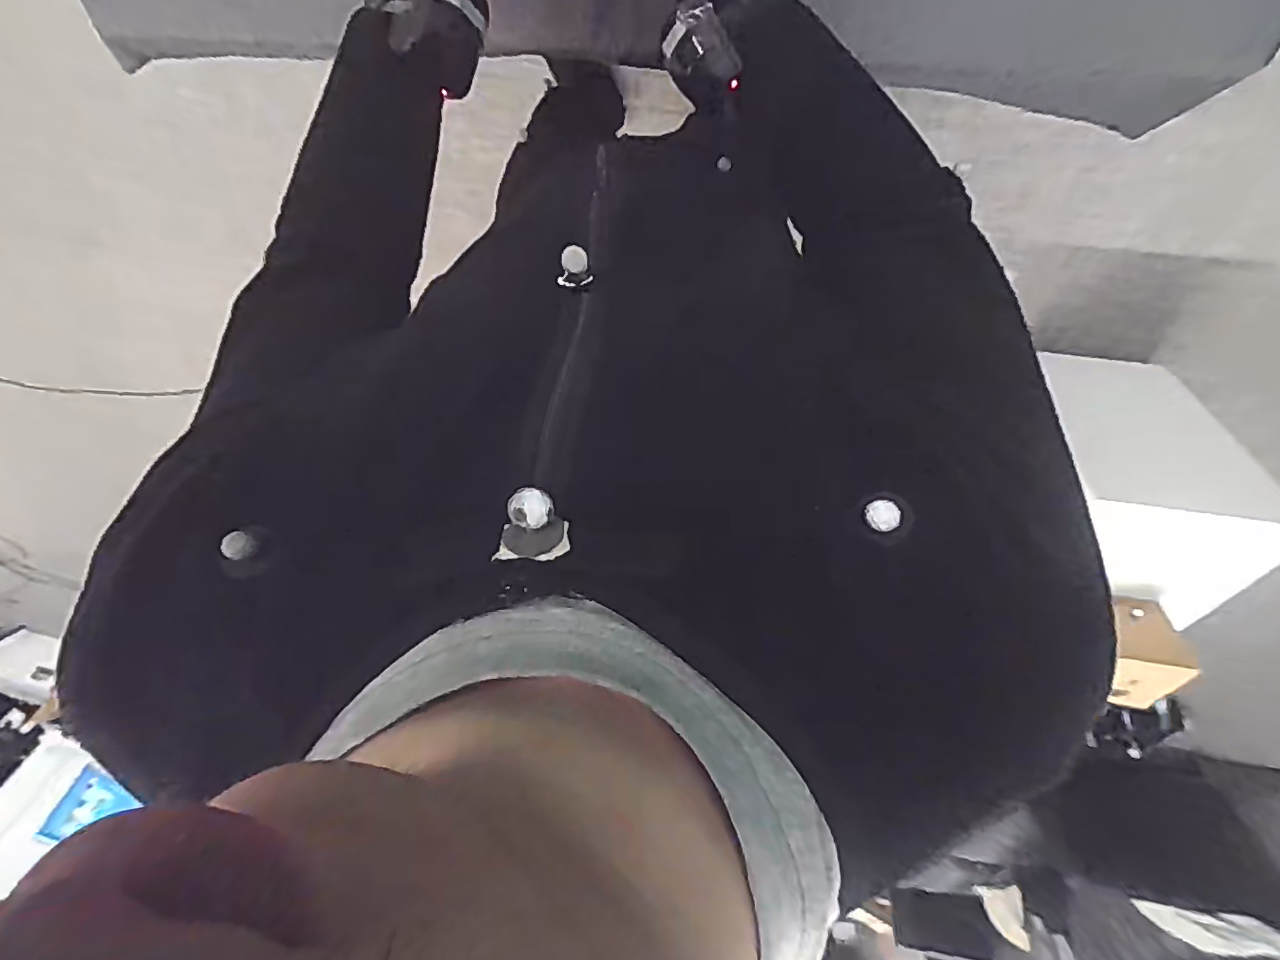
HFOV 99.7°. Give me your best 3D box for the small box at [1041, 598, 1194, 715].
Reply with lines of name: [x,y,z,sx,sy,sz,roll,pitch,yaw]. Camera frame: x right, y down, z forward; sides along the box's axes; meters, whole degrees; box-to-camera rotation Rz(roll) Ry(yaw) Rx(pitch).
small box: [1.034,0.389,1.197,0.168,0.176,0.179,8,133,3]
